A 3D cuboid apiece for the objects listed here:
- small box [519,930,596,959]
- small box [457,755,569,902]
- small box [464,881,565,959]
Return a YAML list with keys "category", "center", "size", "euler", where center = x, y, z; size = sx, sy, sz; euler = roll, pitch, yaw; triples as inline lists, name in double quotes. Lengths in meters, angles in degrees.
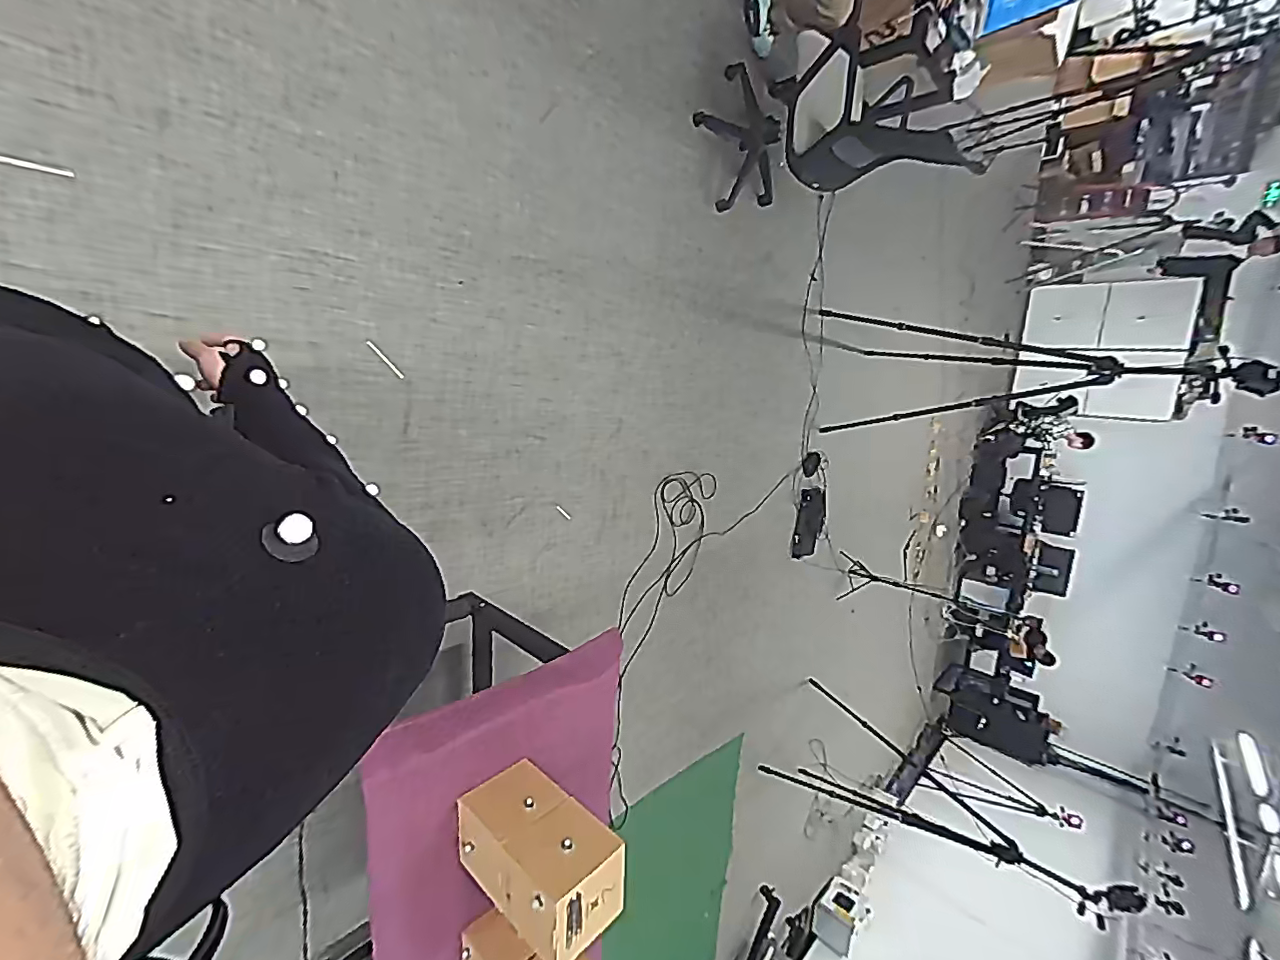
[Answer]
- category: "small box"
  center: [-0.178, 1.108, 1.137]
  size: [0.168, 0.176, 0.179]
  euler: [-8, 106, -45]
- category: "small box"
  center: [-0.276, 0.741, 1.178]
  size: [0.179, 0.176, 0.168]
  euler: [-10, 107, -46]
- category: "small box"
  center: [-0.294, 1.080, 1.248]
  size: [0.179, 0.176, 0.168]
  euler: [-9, 107, -47]
